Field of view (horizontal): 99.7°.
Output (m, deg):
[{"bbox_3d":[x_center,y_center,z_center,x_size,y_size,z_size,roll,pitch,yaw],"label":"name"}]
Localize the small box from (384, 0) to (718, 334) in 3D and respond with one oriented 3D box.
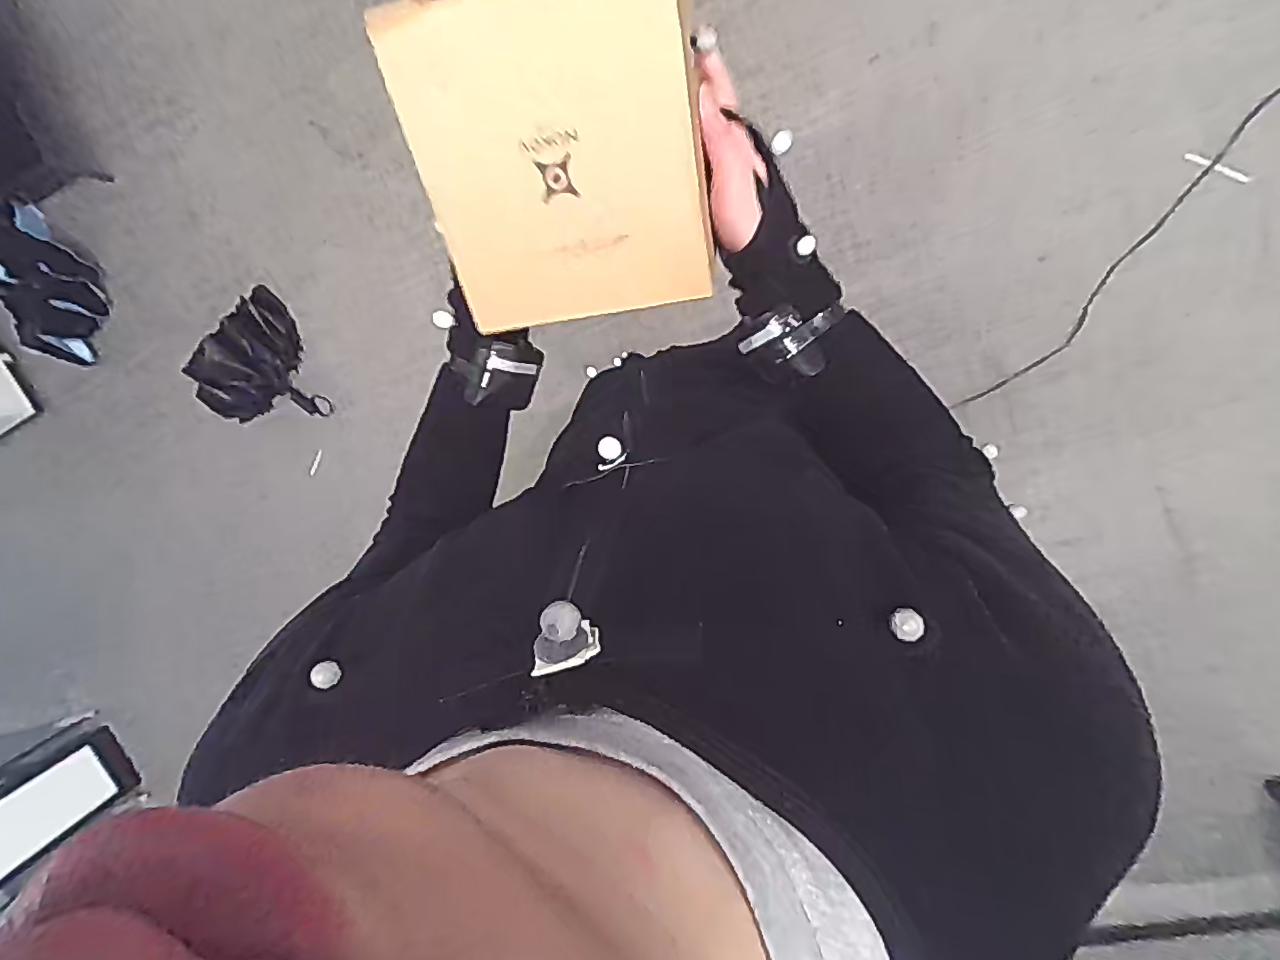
[{"bbox_3d":[-0.036,-0.227,0.386,0.168,0.176,0.179,-5,125,13],"label":"small box"}]
